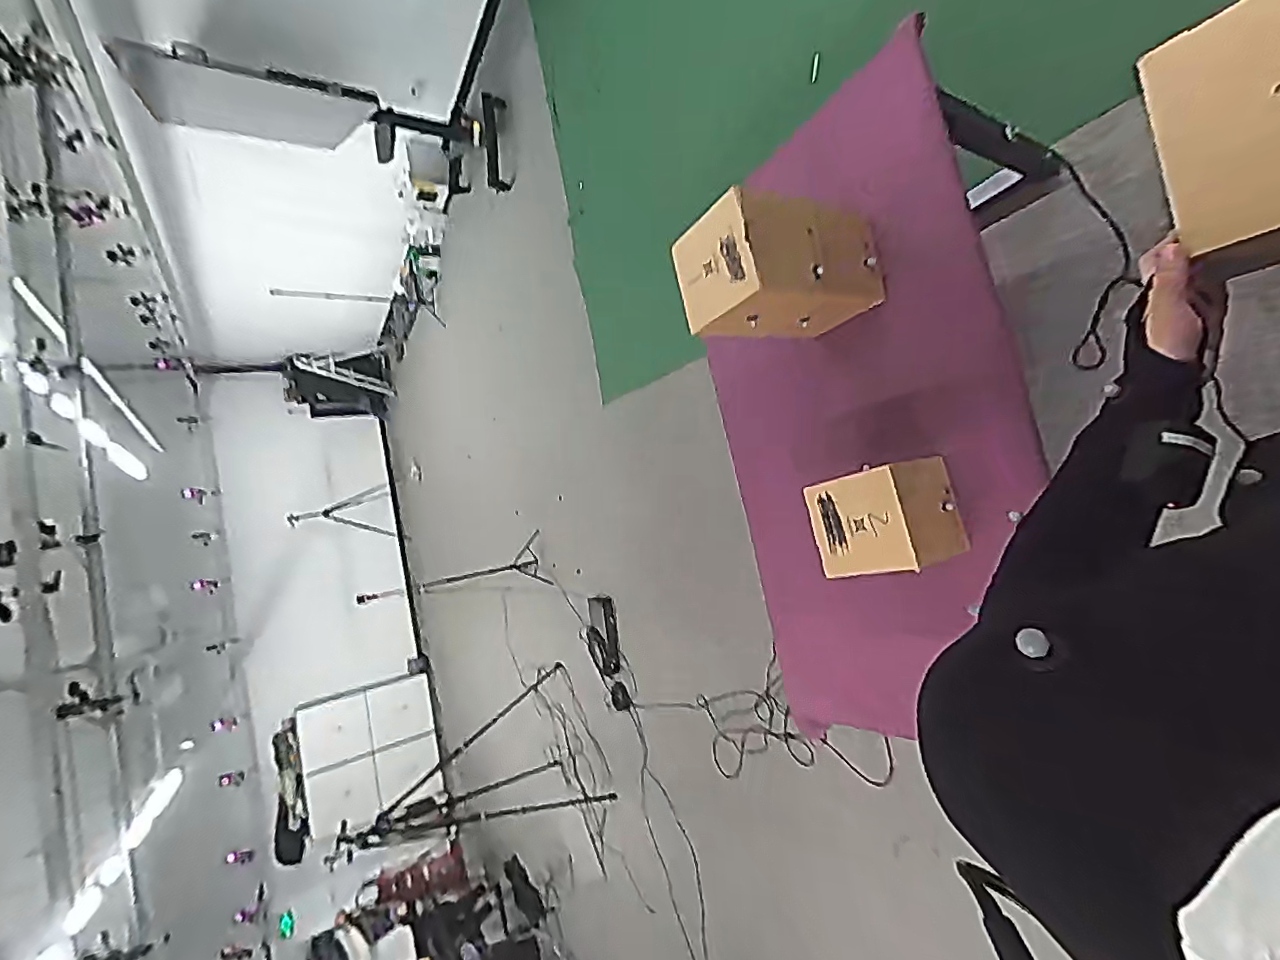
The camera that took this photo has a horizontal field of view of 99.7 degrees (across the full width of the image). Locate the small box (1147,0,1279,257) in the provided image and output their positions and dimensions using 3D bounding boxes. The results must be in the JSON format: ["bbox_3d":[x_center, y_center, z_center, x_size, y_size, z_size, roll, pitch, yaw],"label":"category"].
[{"bbox_3d":[0.534,-0.288,0.414,0.168,0.176,0.179,-13,86,55],"label":"small box"}]

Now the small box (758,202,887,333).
[{"bbox_3d":[0.321,-0.381,1.005,0.179,0.176,0.168,-18,84,57],"label":"small box"}]

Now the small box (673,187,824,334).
[{"bbox_3d":[0.187,-0.359,0.914,0.179,0.176,0.168,-19,82,58],"label":"small box"}]
